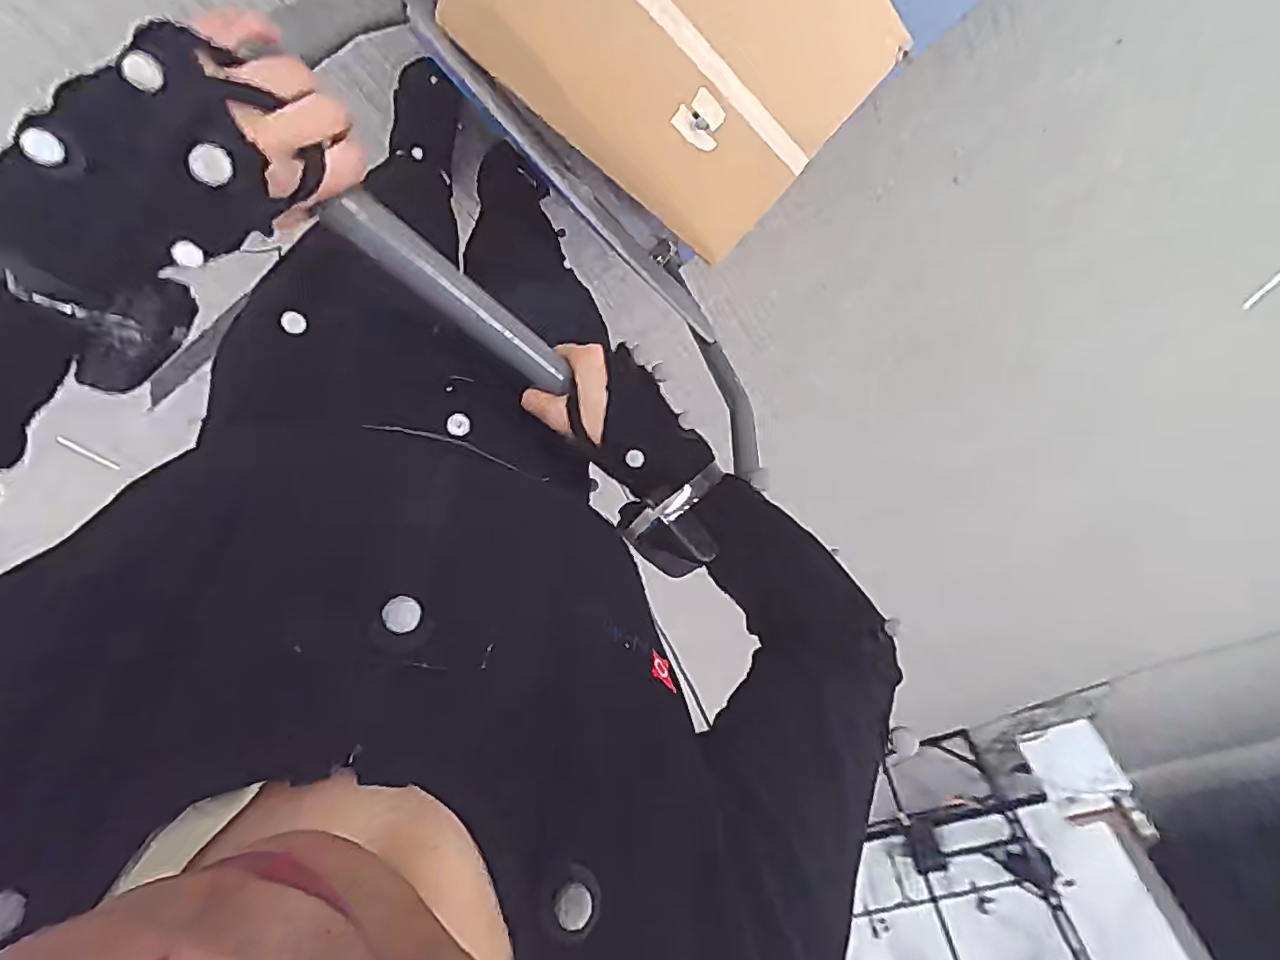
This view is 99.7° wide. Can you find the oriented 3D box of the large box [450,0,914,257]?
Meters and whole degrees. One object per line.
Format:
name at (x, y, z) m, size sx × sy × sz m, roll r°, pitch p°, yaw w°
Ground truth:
large box at (0.034, -0.571, 0.667) m, size 0.408 × 0.320 × 0.320 m, roll 28°, pitch 124°, yaw -32°
